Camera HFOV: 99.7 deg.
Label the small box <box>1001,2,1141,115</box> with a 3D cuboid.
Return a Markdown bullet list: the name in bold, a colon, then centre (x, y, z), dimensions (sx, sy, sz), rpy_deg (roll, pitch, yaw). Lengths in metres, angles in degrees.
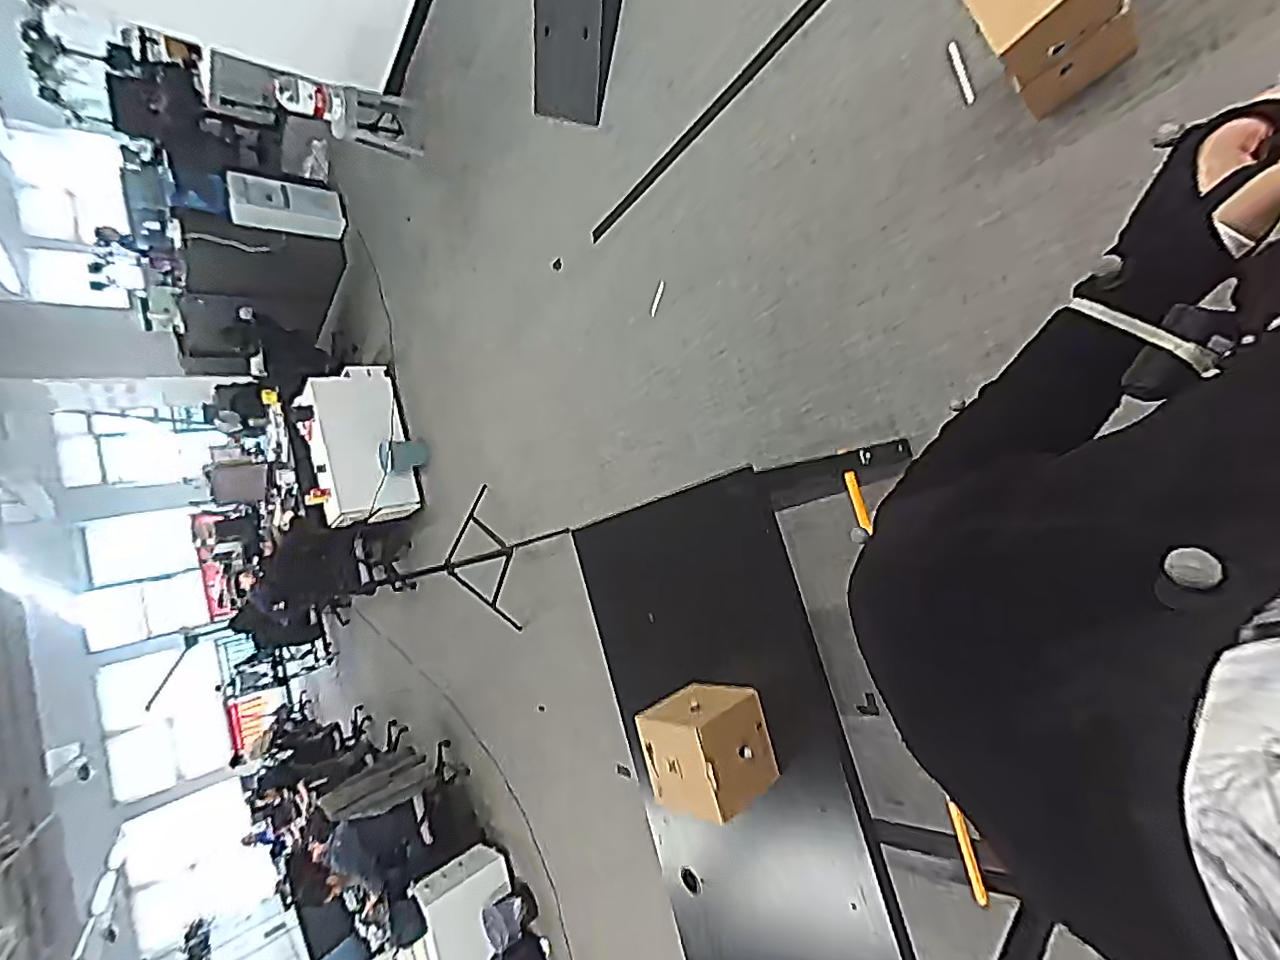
- **small box**: centre (0.826, -0.864, 1.053), dimensions (0.179, 0.176, 0.168), rpy_deg (-27, 78, 47)

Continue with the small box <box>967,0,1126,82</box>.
- **small box**: centre (0.703, -0.852, 0.947), dimensions (0.168, 0.176, 0.179), rpy_deg (-32, 75, 48)

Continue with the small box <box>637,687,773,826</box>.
- **small box**: centre (0.128, 0.502, 1.014), dimensions (0.179, 0.176, 0.168), rpy_deg (-20, 83, 48)
